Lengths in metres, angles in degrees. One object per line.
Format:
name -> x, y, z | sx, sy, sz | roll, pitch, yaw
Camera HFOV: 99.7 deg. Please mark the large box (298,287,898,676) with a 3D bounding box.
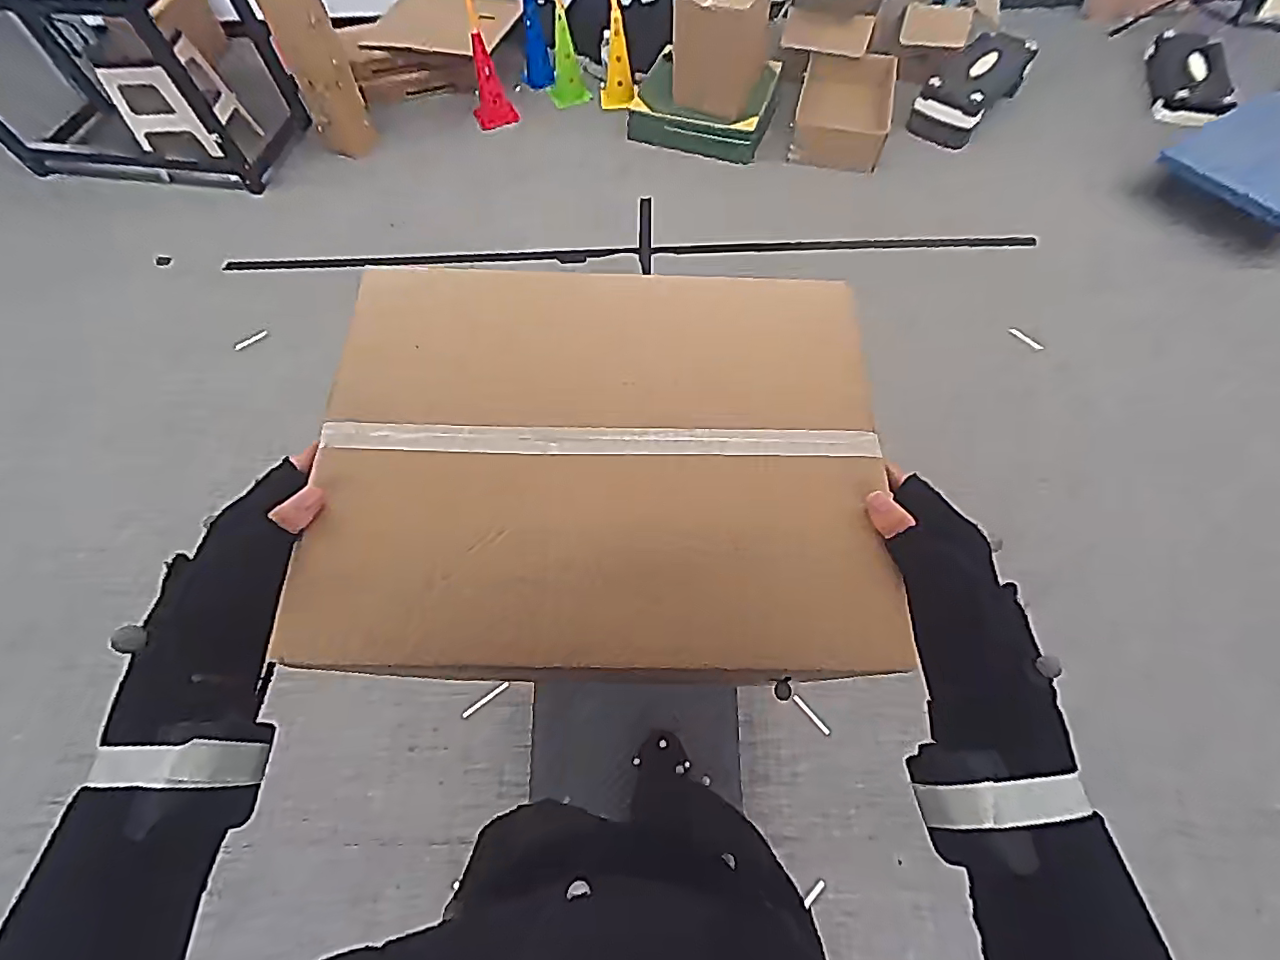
large box -> -0.028, 0.032, 0.546 | 0.408, 0.320, 0.320 | 1, 68, -1
